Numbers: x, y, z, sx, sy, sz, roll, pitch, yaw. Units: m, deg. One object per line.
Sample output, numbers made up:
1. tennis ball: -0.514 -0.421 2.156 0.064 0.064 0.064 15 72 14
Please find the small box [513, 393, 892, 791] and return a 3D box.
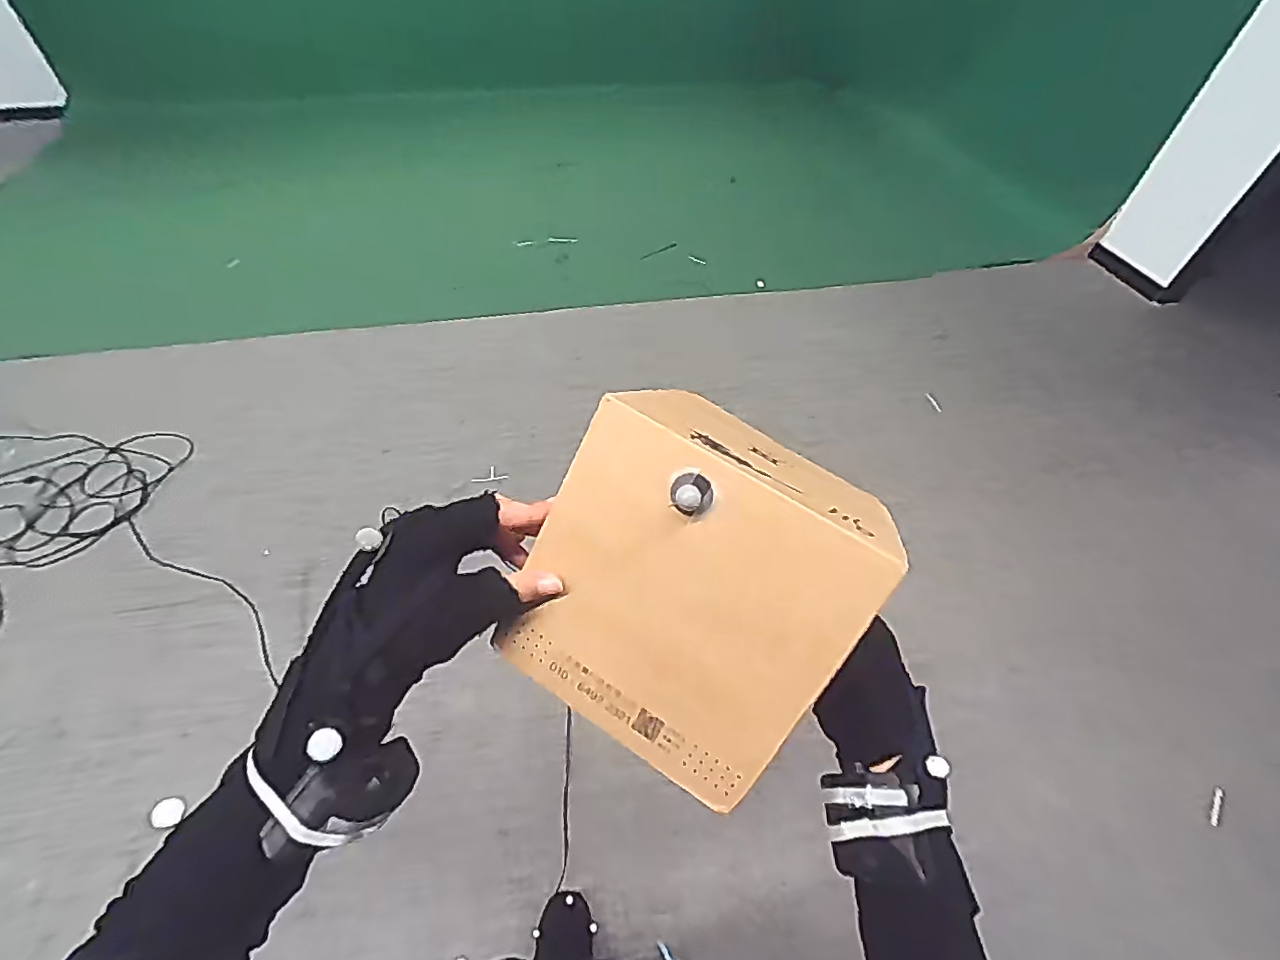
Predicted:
1. small box: 0.042 0.056 0.370 0.168 0.176 0.179 31 16 13
